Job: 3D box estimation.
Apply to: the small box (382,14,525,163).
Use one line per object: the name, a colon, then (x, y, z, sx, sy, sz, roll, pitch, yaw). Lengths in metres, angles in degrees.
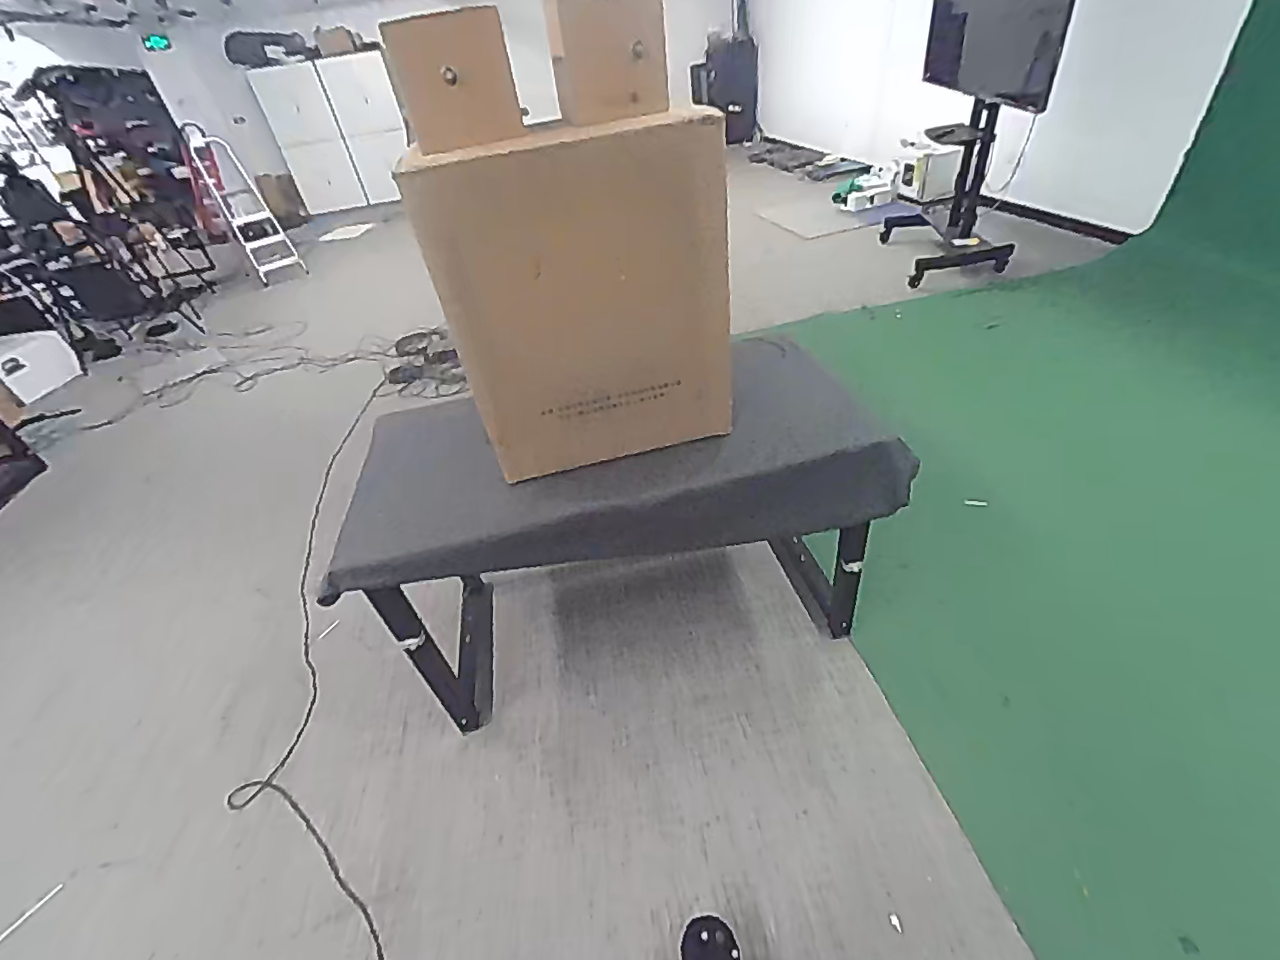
small box: (-0.298, -0.649, 0.899, 0.179, 0.176, 0.168, -17, 41, -6)

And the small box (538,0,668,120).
small box: (-0.060, -0.725, 0.913, 0.168, 0.176, 0.179, -18, 42, -10)
